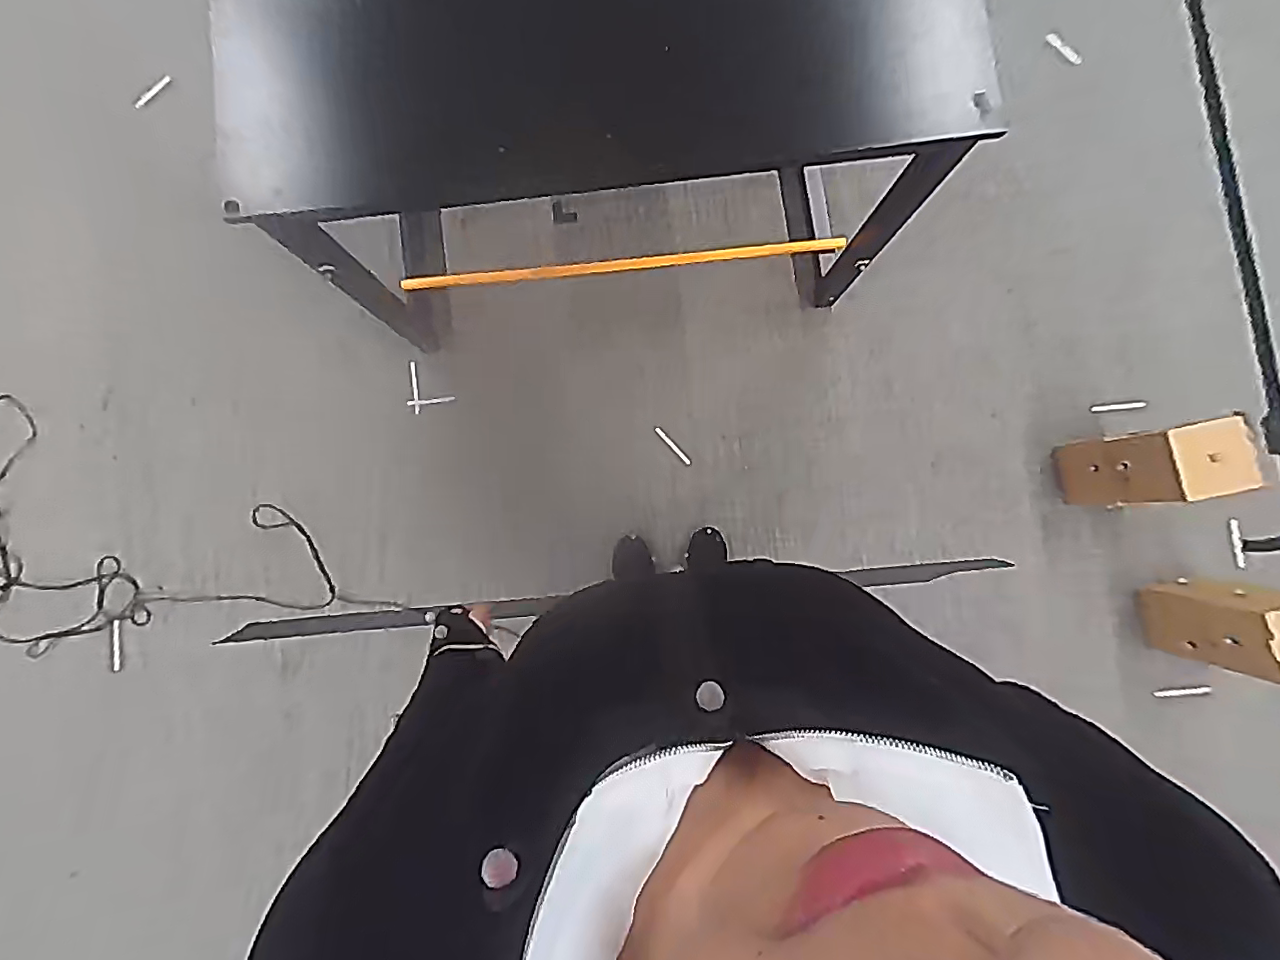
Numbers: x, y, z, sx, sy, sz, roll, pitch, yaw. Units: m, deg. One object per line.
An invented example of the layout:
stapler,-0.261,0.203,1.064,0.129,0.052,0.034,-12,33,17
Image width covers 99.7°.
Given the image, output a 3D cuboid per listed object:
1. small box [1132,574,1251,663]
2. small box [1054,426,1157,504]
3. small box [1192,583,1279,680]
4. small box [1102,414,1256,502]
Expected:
small box,1.461,0.356,1.420,0.168,0.176,0.179,-12,86,-1
small box,1.254,-0.034,1.445,0.168,0.176,0.179,-9,87,0
small box,1.452,0.345,1.257,0.179,0.176,0.168,-14,86,0
small box,1.265,-0.046,1.282,0.179,0.176,0.168,-13,85,0
